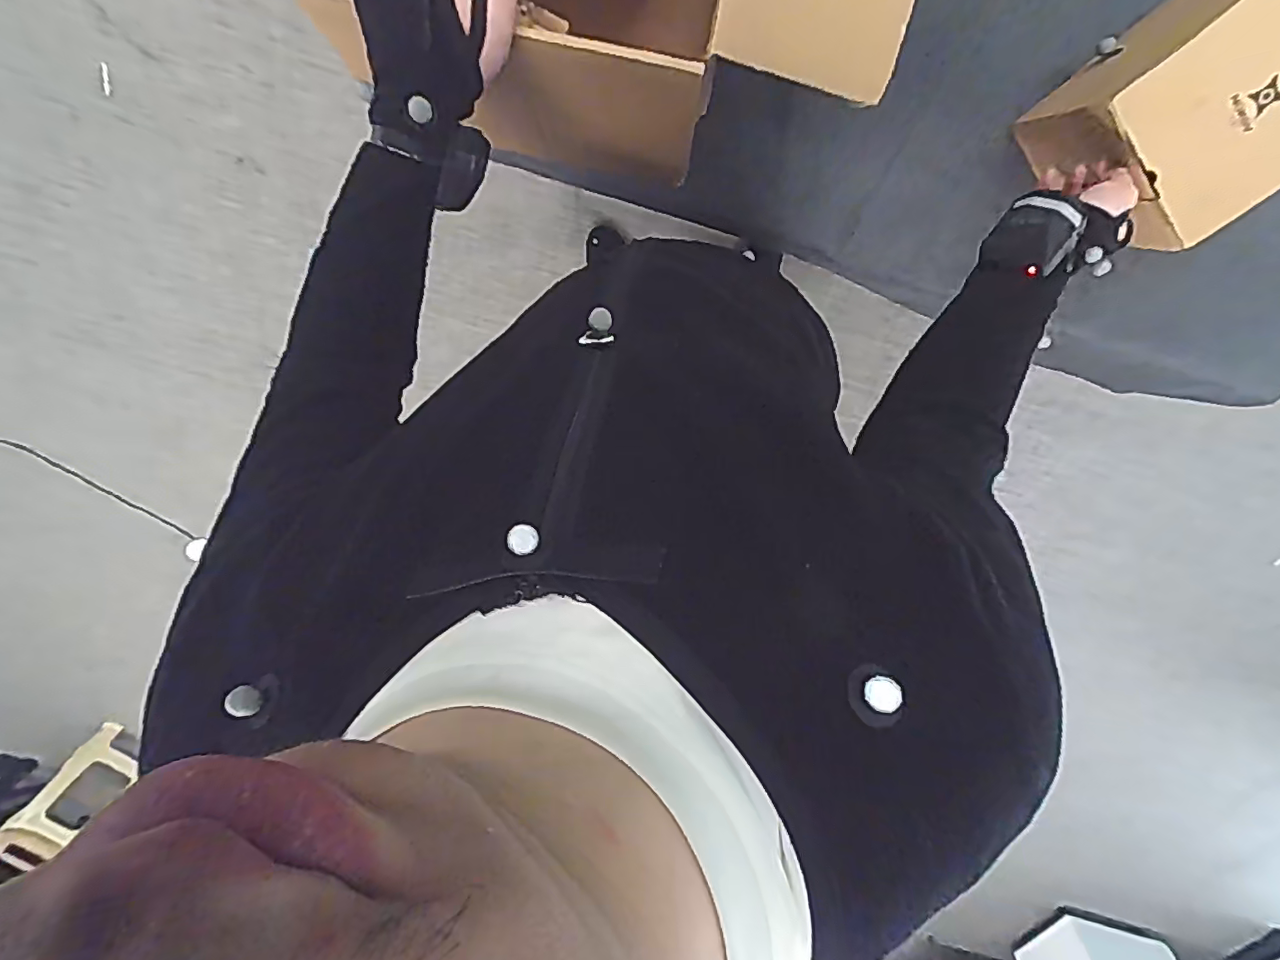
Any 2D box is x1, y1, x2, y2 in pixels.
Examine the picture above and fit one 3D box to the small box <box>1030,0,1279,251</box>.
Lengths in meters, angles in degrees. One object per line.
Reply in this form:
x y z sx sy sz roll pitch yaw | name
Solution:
0.541 -0.360 0.546 0.179 0.176 0.168 -37 107 21 | small box
